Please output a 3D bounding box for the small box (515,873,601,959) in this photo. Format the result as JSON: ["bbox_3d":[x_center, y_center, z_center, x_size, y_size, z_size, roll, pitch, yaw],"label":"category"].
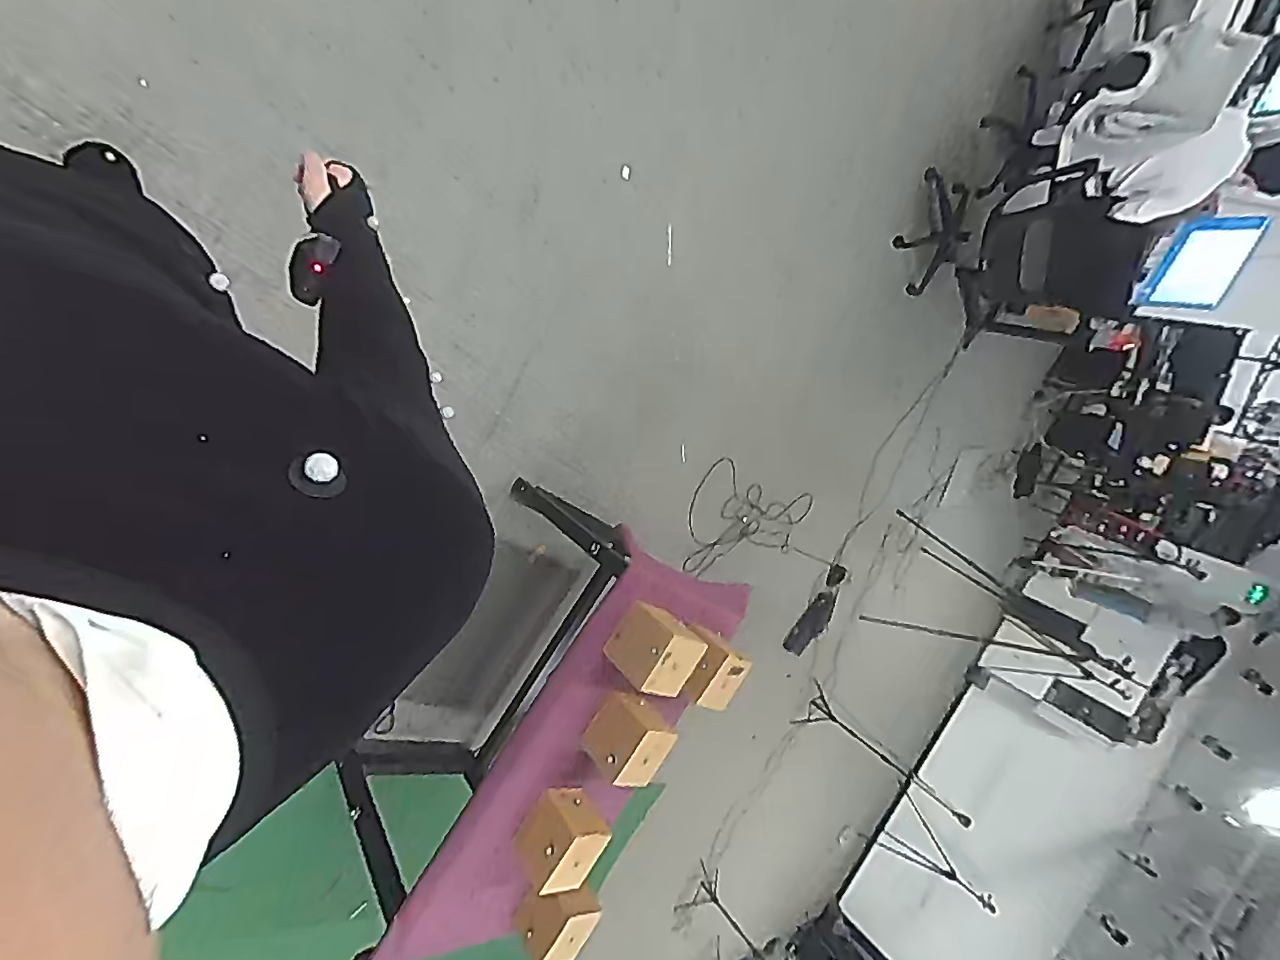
[{"bbox_3d":[-0.260,1.316,1.669,0.179,0.176,0.168,-56,135,-5],"label":"small box"}]

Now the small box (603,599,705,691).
[{"bbox_3d":[0.036,0.441,1.453,0.179,0.176,0.168,34,88,-48],"label":"small box"}]

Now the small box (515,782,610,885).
[{"bbox_3d":[-0.226,0.992,1.526,0.168,0.176,0.179,37,85,-46],"label":"small box"}]

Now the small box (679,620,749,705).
[{"bbox_3d":[0.196,0.559,1.665,0.179,0.176,0.168,-56,136,-2],"label":"small box"}]

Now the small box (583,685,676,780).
[{"bbox_3d":[-0.037,0.722,1.544,0.179,0.176,0.168,-56,137,-3],"label":"small box"}]
